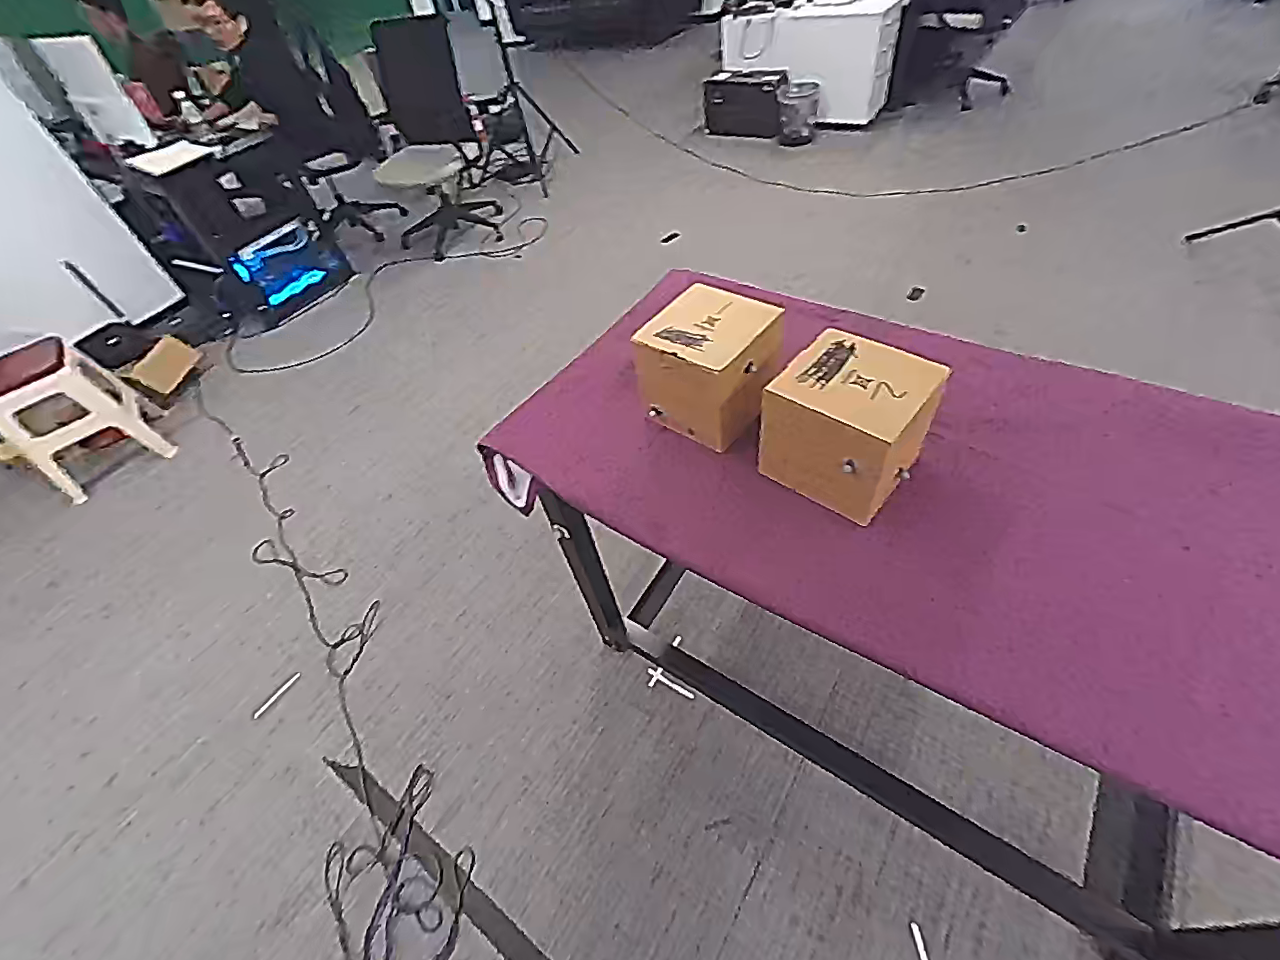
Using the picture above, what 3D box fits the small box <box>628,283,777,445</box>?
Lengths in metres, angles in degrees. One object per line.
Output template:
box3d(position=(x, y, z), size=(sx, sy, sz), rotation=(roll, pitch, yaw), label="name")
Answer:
box3d(position=(0.107, -0.187, 0.883), size=(0.168, 0.176, 0.179), rotation=(29, 60, 29), label="small box")
